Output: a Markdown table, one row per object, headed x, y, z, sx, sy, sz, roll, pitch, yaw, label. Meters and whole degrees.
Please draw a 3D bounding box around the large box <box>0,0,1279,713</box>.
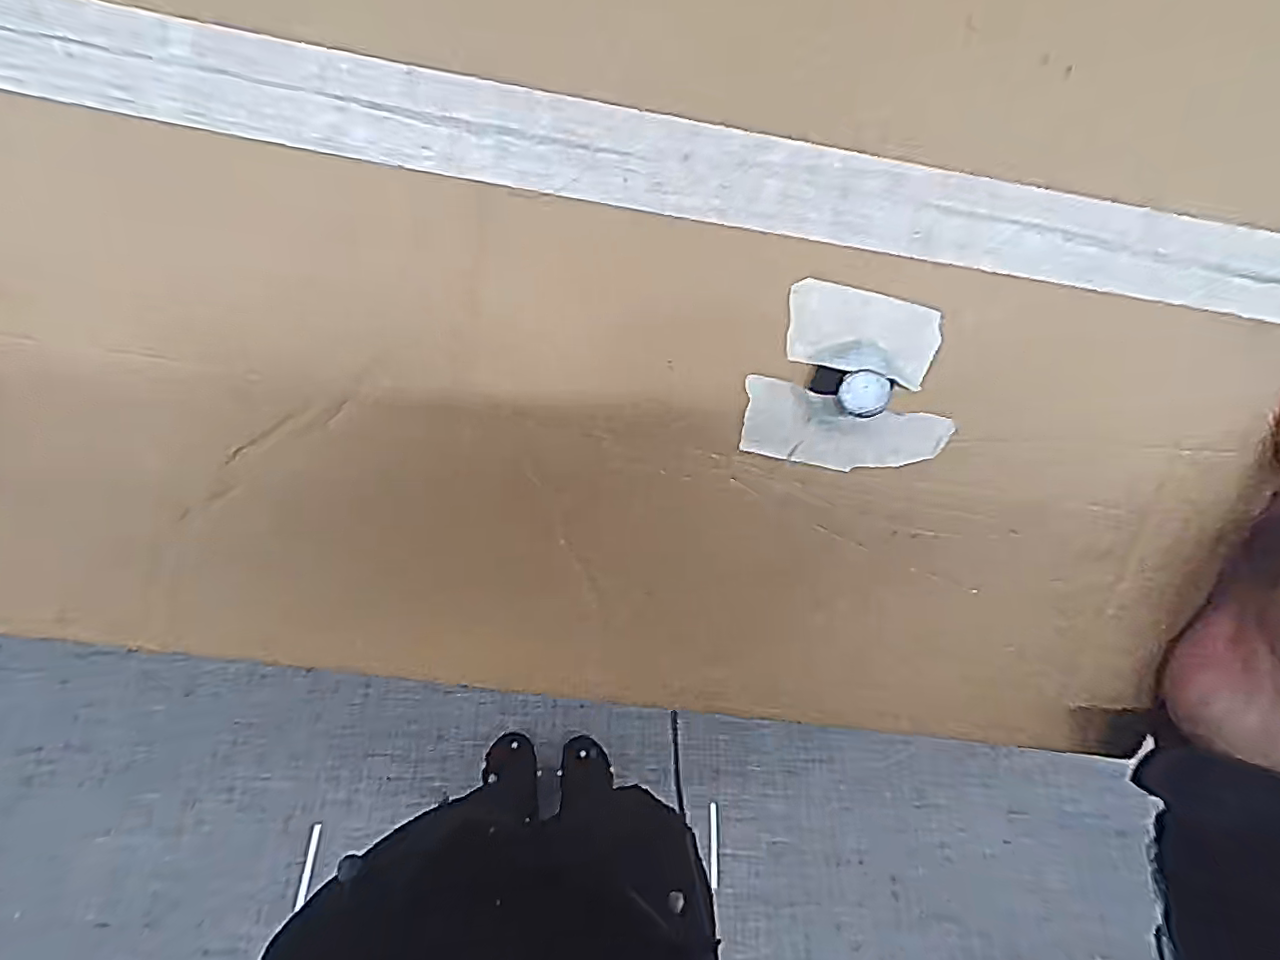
| x | y | z | sx | sy | sz | roll | pitch | yaw | label |
| --- | --- | --- | --- | --- | --- | --- | --- | --- | --- |
| -0.010 | -0.120 | 0.288 | 0.408 | 0.320 | 0.320 | 8 | 107 | -6 | large box |
